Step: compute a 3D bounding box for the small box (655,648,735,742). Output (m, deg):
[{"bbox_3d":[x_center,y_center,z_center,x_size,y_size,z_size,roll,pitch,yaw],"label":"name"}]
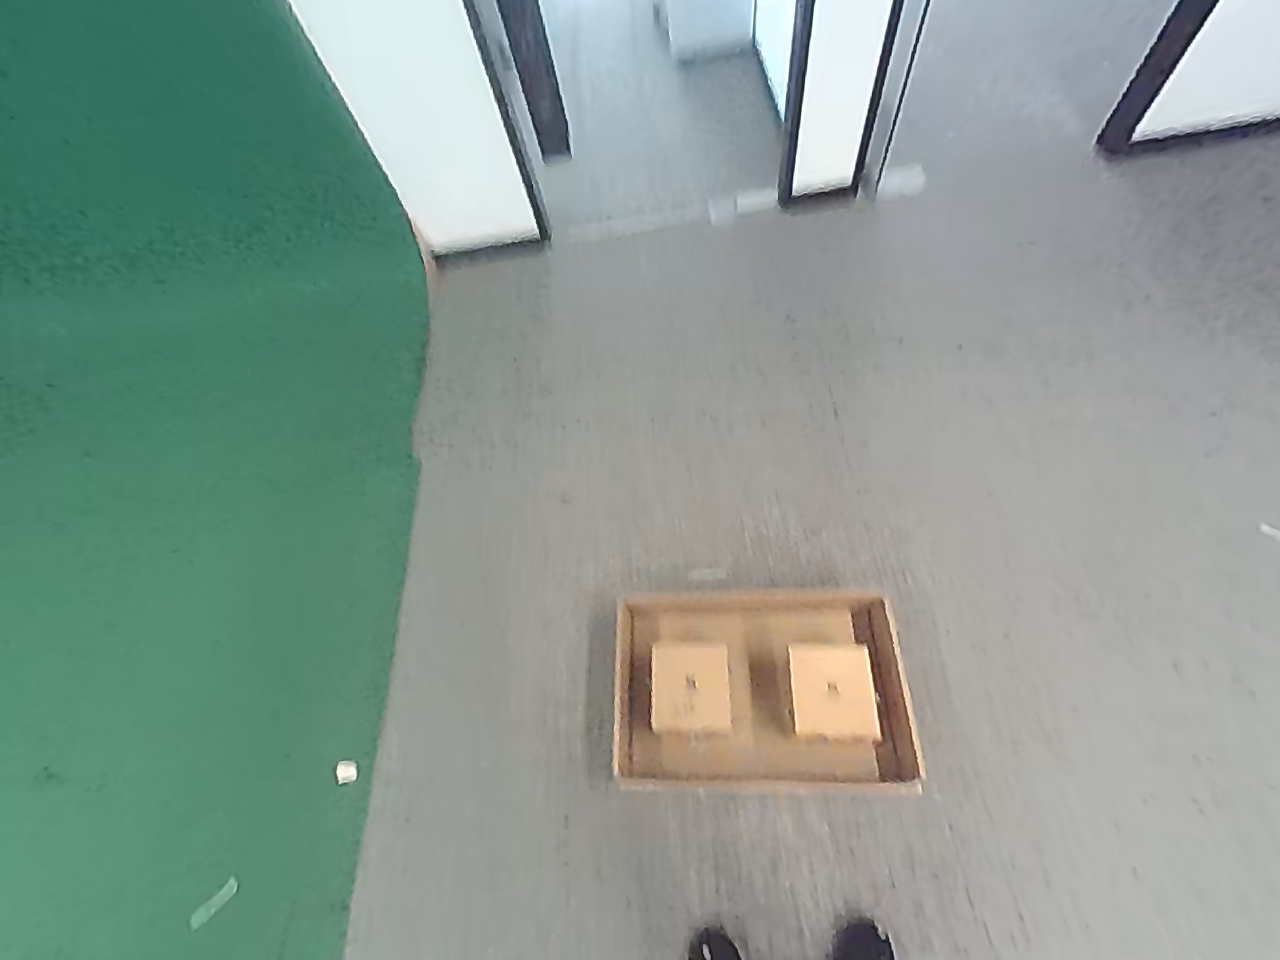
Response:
[{"bbox_3d":[0.124,0.485,1.216,0.168,0.176,0.179,-3,60,7],"label":"small box"}]
